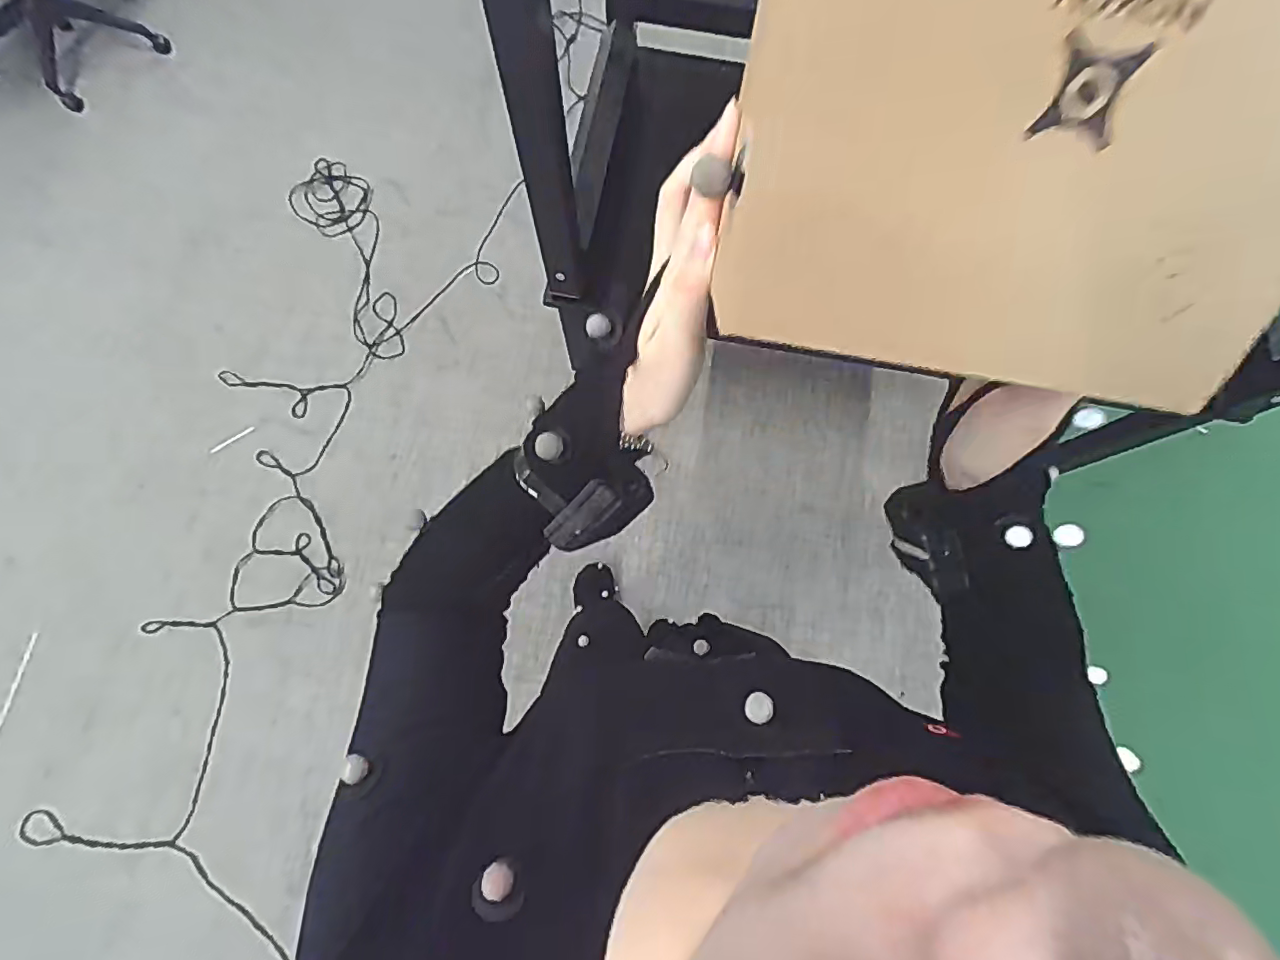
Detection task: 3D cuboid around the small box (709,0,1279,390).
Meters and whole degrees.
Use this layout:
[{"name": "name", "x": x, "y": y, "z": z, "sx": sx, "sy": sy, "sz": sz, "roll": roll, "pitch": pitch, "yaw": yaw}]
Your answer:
[{"name": "small box", "x": 0.124, "y": -0.157, "z": 0.208, "sx": 0.168, "sy": 0.176, "sz": 0.179, "roll": 10, "pitch": 120, "yaw": -1}]
